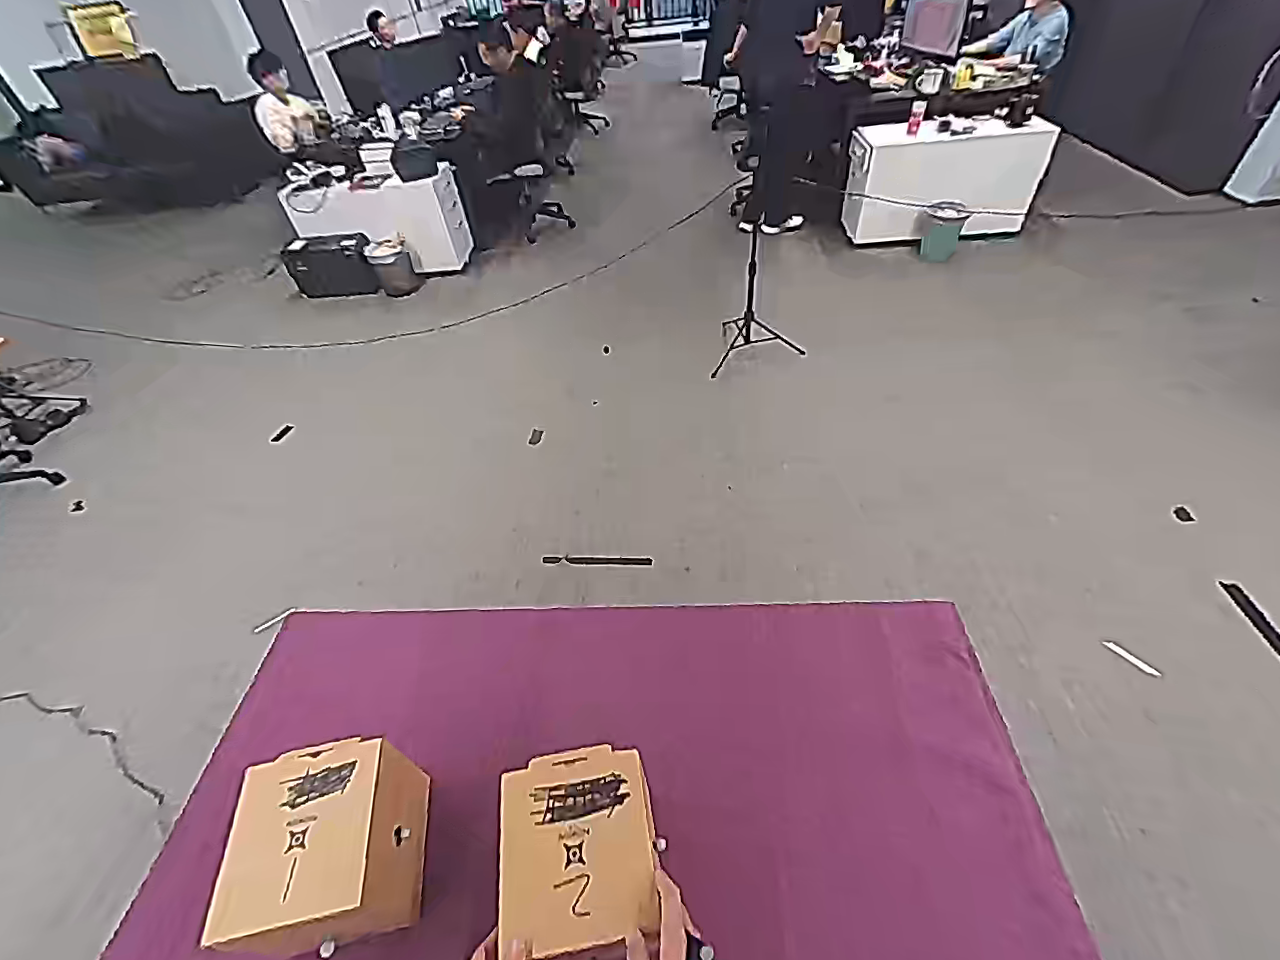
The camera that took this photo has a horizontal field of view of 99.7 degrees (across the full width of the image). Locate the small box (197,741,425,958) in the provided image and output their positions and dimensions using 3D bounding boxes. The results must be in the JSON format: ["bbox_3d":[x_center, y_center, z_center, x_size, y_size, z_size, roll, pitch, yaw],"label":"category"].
[{"bbox_3d":[-0.379,0.455,0.668,0.168,0.176,0.179,-11,47,-4],"label":"small box"}]
